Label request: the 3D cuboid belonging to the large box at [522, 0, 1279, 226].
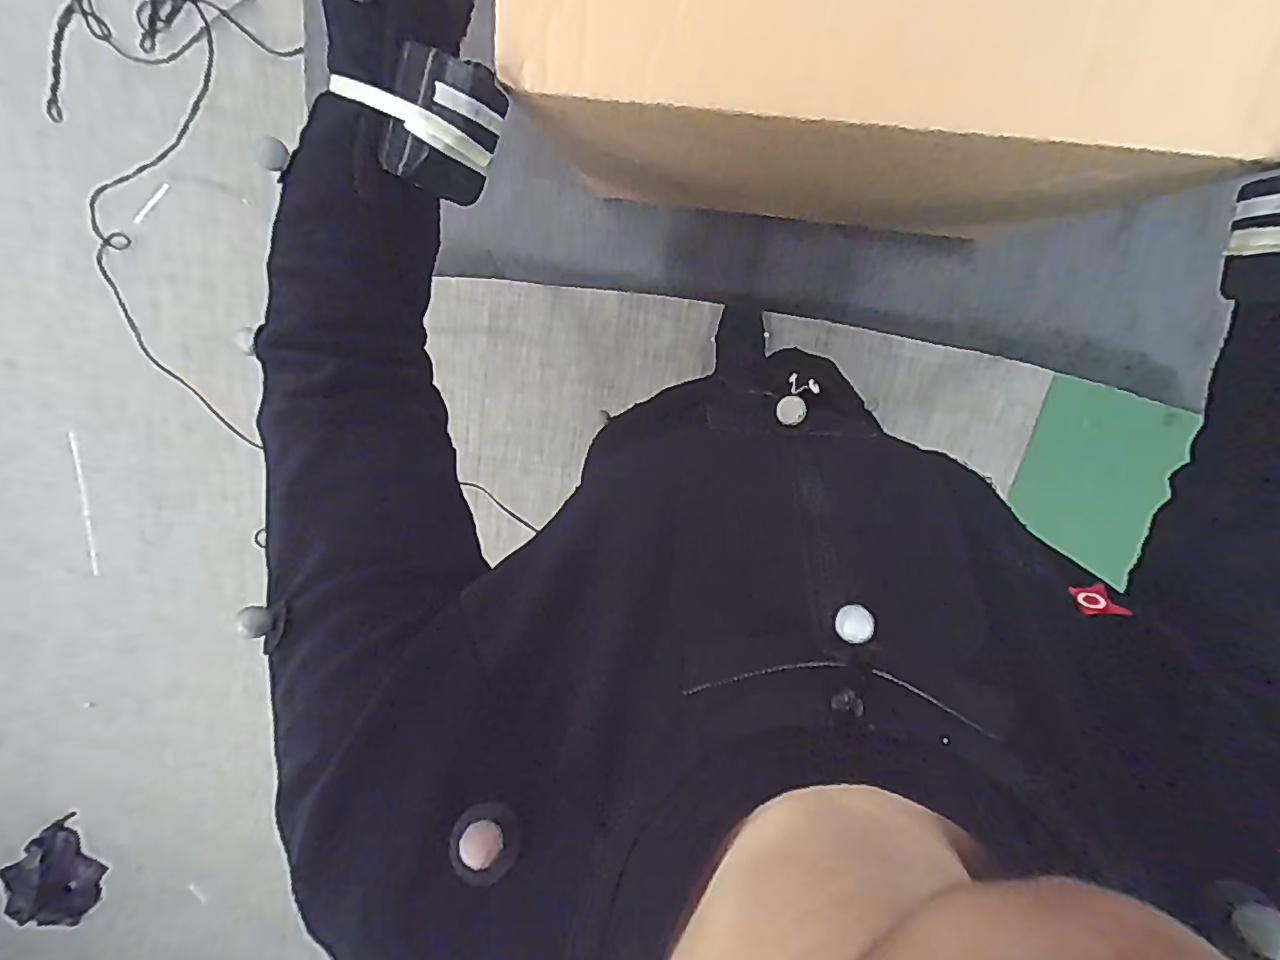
[{"bbox_3d":[0.154,-0.379,0.378,0.408,0.320,0.320,7,109,3],"label":"large box"}]
